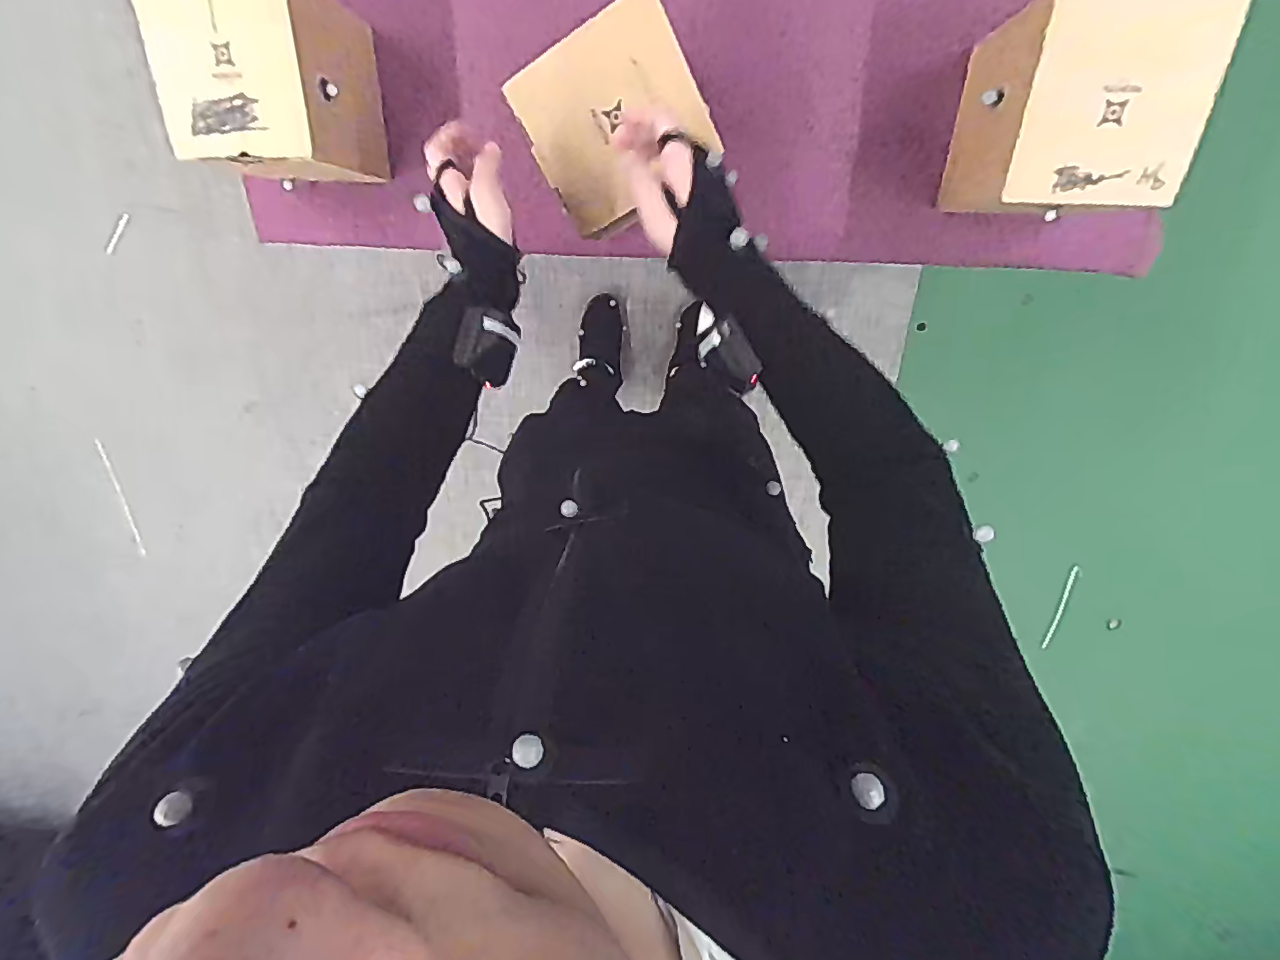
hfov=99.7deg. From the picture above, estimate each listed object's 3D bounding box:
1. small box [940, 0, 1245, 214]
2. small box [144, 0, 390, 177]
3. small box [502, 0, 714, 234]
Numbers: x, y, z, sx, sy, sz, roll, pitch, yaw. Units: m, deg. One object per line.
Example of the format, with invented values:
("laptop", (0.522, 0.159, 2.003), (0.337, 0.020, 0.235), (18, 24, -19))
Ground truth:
("small box", (0.452, -0.390, 0.579), (0.168, 0.176, 0.179), (5, 115, 6))
("small box", (-0.427, -0.473, 0.651), (0.168, 0.176, 0.179), (3, 112, 5))
("small box", (-0.023, -0.406, 0.633), (0.179, 0.176, 0.168), (-24, 110, 16))
